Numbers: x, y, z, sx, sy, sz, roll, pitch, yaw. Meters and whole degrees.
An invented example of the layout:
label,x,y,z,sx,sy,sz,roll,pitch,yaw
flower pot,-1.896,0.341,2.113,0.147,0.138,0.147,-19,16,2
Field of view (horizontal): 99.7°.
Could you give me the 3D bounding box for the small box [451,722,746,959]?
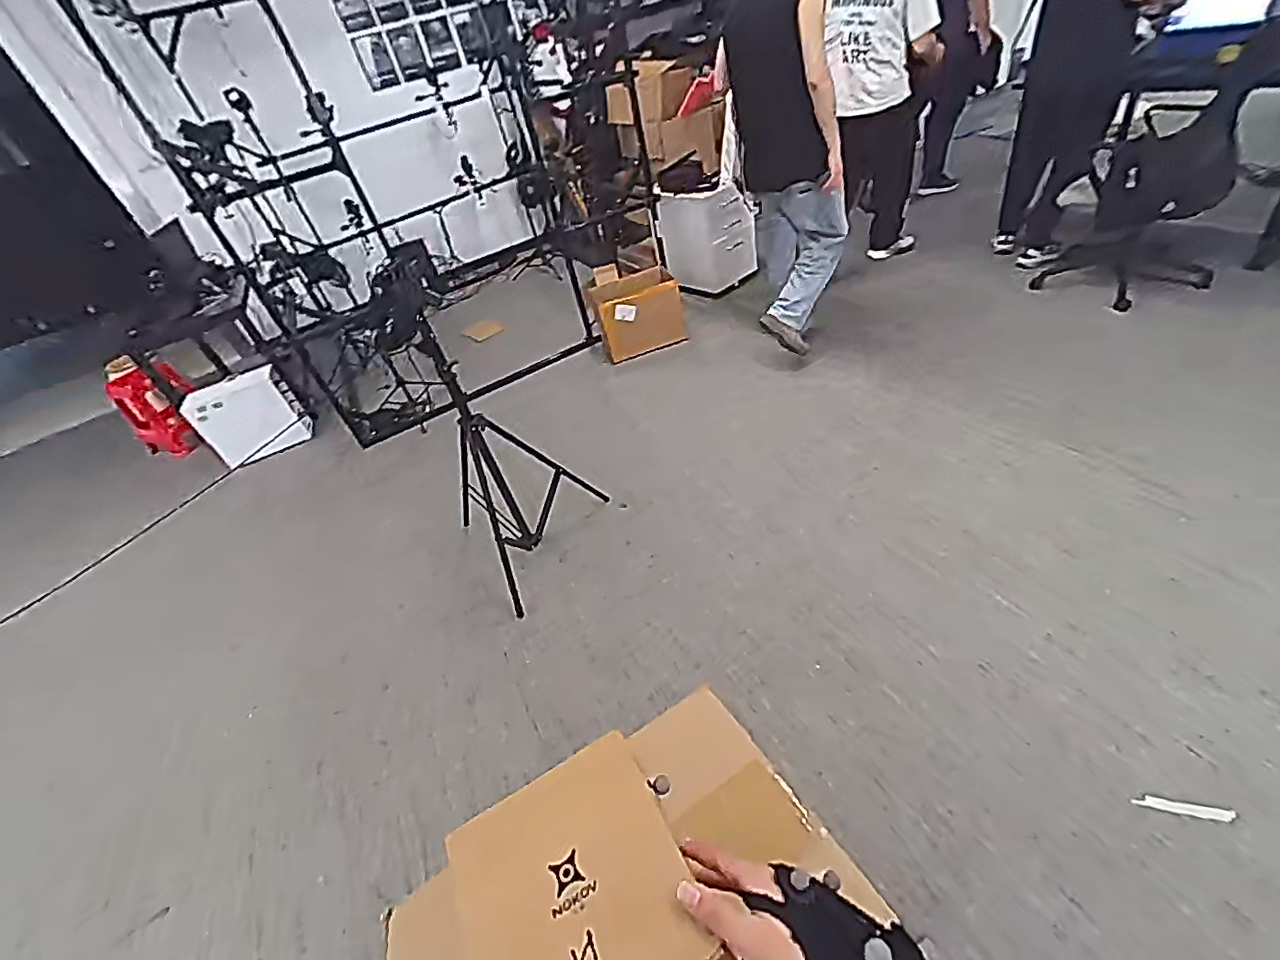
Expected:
label,x,y,z,sx,sy,sz,roll,pitch,yaw
small box,-0.029,0.348,0.441,0.168,0.176,0.179,-28,39,-12
